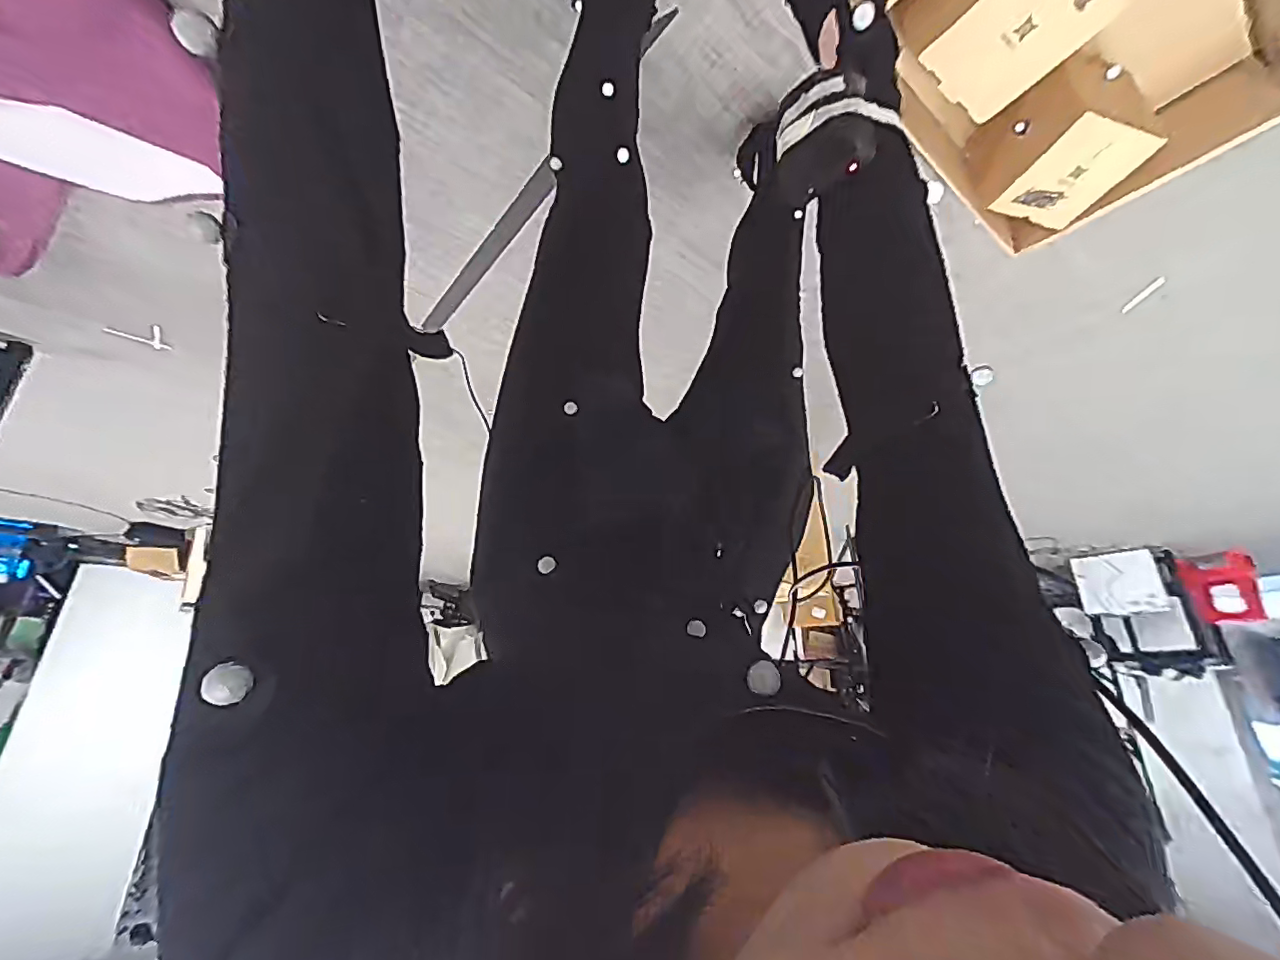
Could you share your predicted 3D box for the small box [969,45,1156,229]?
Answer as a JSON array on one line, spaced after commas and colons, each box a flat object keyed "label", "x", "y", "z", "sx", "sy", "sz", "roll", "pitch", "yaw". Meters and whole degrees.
[{"label": "small box", "x": 0.691, "y": -0.569, "z": 0.910, "sx": 0.168, "sy": 0.176, "sz": 0.179, "roll": 7, "pitch": 155, "yaw": -15}]
